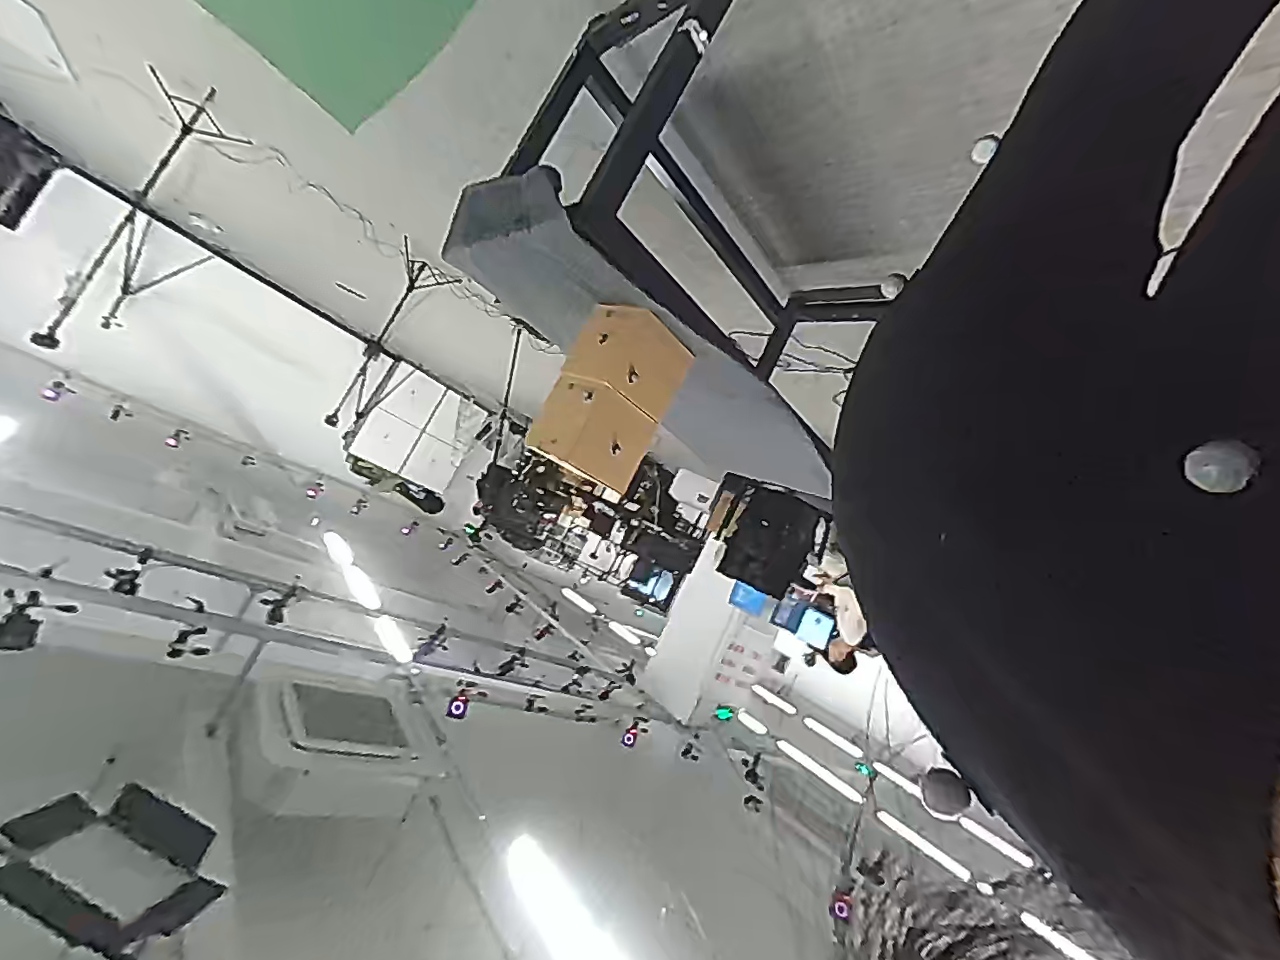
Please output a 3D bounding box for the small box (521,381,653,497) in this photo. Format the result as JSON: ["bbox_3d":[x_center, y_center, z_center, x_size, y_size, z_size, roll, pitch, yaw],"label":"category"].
[{"bbox_3d":[-0.107,-0.088,1.123,0.168,0.176,0.179,22,173,45],"label":"small box"}]

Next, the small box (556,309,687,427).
[{"bbox_3d":[-0.034,-0.236,1.122,0.168,0.176,0.179,22,173,44],"label":"small box"}]
